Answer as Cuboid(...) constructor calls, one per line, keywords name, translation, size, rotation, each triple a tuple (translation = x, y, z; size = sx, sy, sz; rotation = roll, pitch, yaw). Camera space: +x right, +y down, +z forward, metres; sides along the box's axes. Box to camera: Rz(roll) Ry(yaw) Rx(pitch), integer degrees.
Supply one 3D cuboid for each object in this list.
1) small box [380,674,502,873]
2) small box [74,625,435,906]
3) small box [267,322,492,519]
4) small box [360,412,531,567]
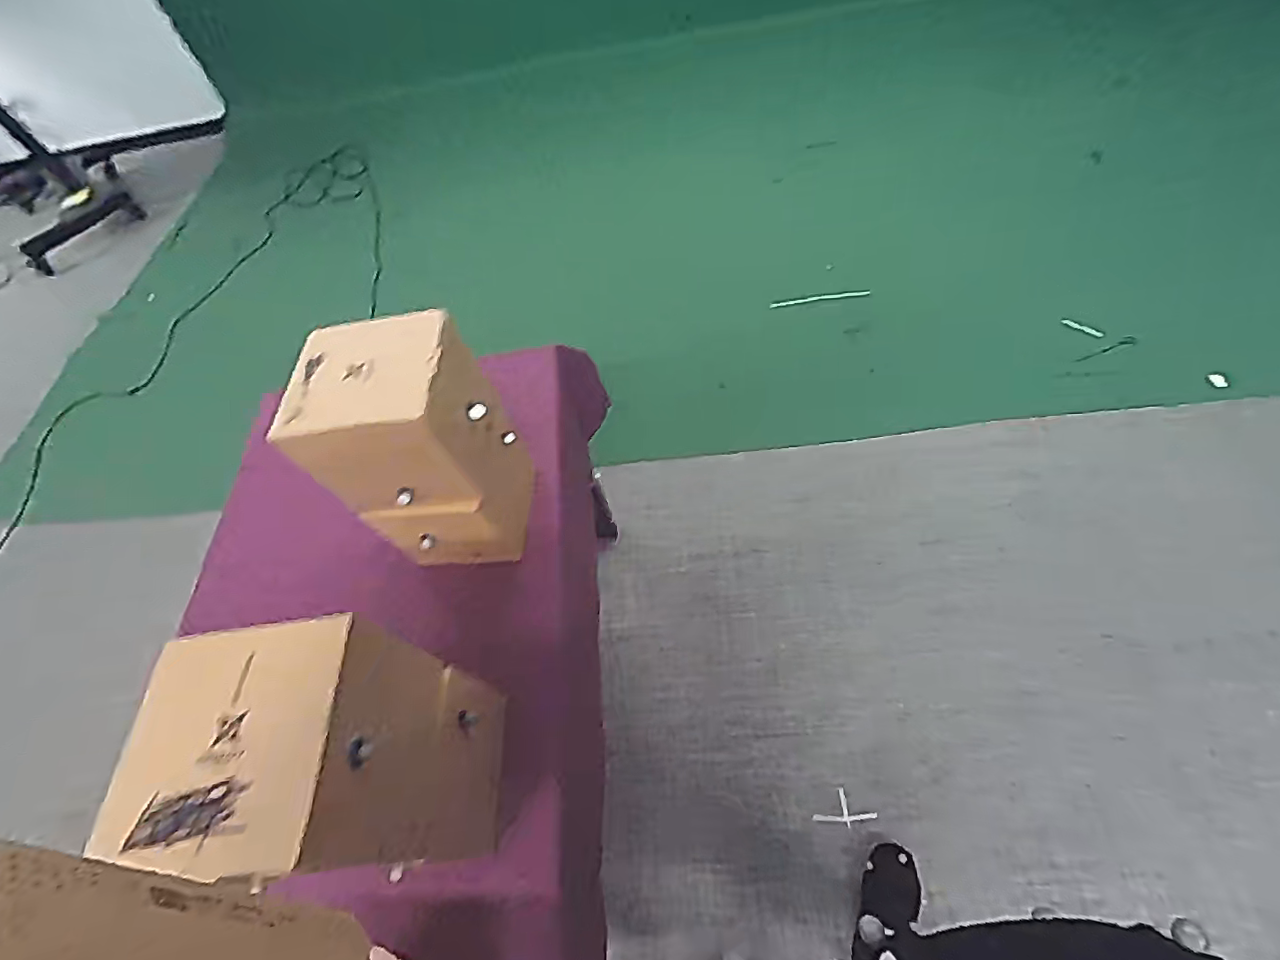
Cuboid(name="small box", translation=(-0.266, 0.331, 0.607), size=(0.168, 0.176, 0.179), rotation=(-7, 57, 7))
Cuboid(name="small box", translation=(-0.299, 0.245, 0.470), size=(0.168, 0.176, 0.179), rotation=(-9, 56, 5))
Cuboid(name="small box", translation=(-0.298, -0.066, 0.669), size=(0.179, 0.176, 0.168), rotation=(-7, 57, 6))
Cuboid(name="small box", translation=(-0.272, 0.023, 0.804), size=(0.168, 0.176, 0.179), rotation=(-4, 57, 8))
